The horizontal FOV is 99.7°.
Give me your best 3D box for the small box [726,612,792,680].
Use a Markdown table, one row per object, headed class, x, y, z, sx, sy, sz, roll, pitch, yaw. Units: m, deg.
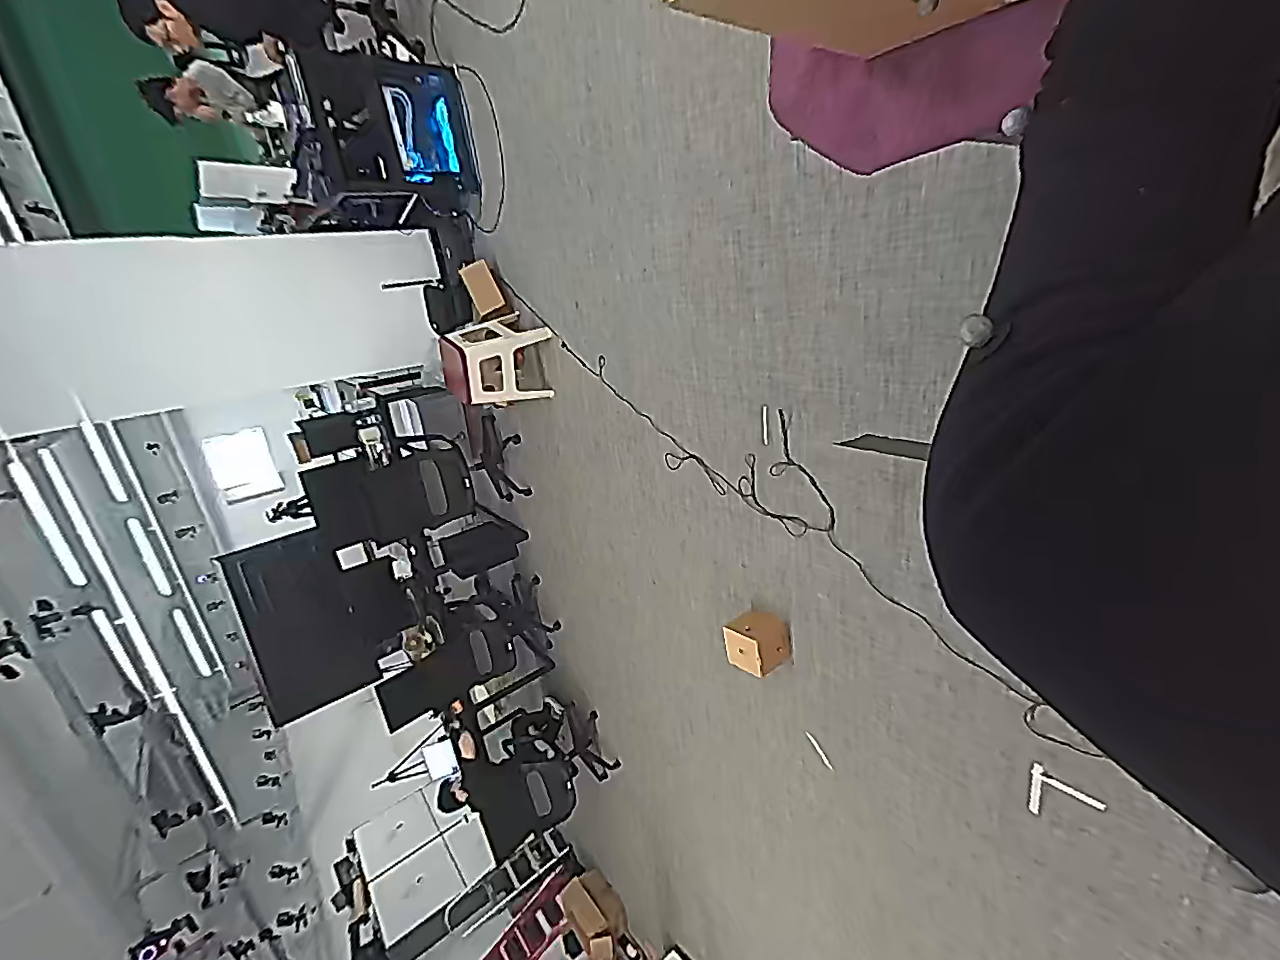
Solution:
| class | x | y | z | sx | sy | sz | roll | pitch | yaw |
| --- | --- | --- | --- | --- | --- | --- | --- | --- | --- |
| small box | 0.464 | 0.634 | 2.098 | 0.179 | 0.176 | 0.168 | 10 | 116 | 52 |
